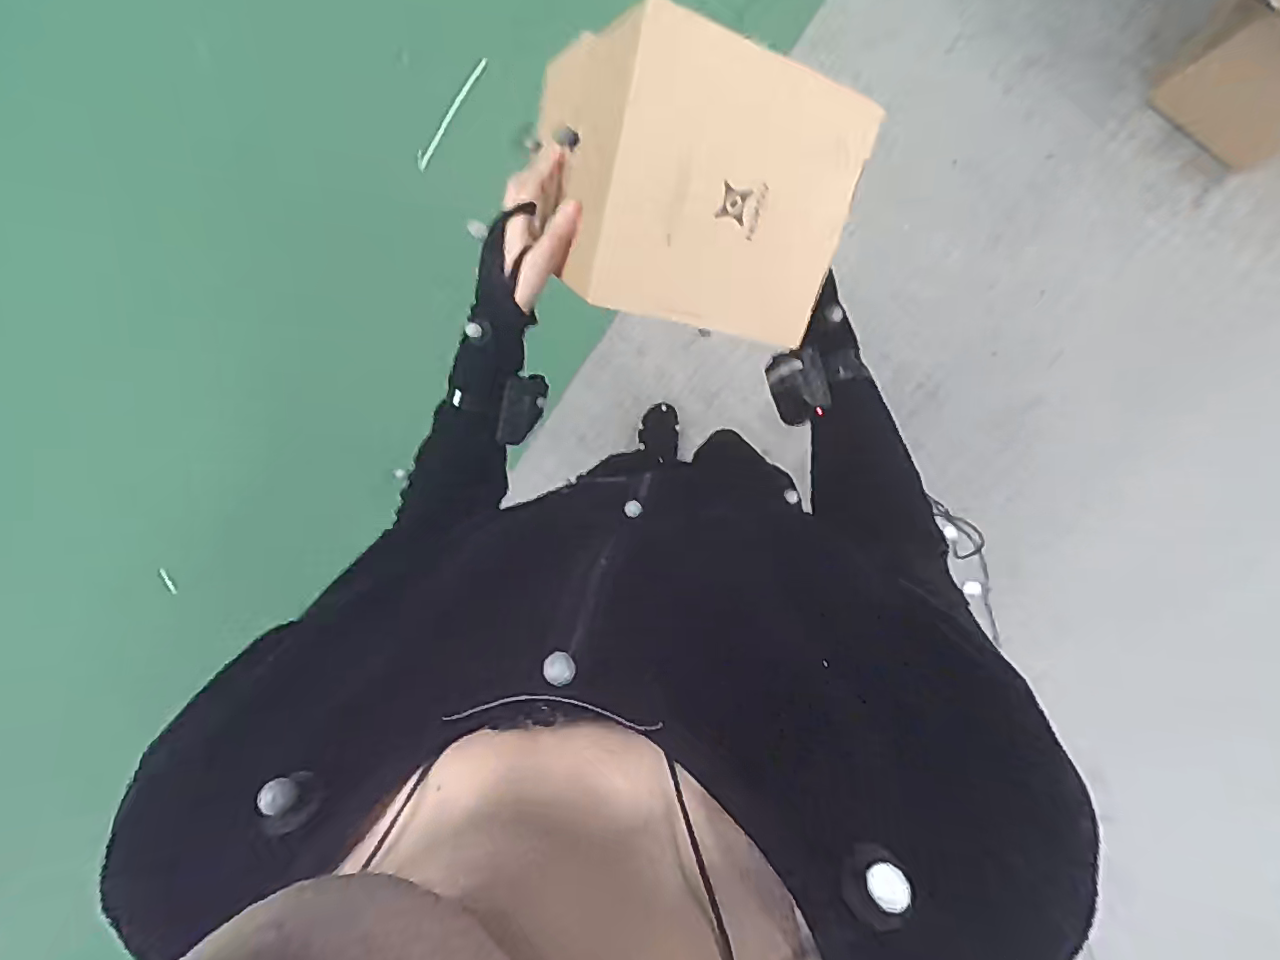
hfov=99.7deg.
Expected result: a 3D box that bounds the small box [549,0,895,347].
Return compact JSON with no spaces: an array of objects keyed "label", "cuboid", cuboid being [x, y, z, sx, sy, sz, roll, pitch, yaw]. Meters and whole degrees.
[{"label":"small box","cuboid":[0.043,-0.218,0.415,0.179,0.176,0.168,8,113,-23]}]

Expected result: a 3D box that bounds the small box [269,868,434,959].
[{"label":"small box","cuboid":[-0.448,0.727,0.798,0.179,0.176,0.168,36,99,0]}]
